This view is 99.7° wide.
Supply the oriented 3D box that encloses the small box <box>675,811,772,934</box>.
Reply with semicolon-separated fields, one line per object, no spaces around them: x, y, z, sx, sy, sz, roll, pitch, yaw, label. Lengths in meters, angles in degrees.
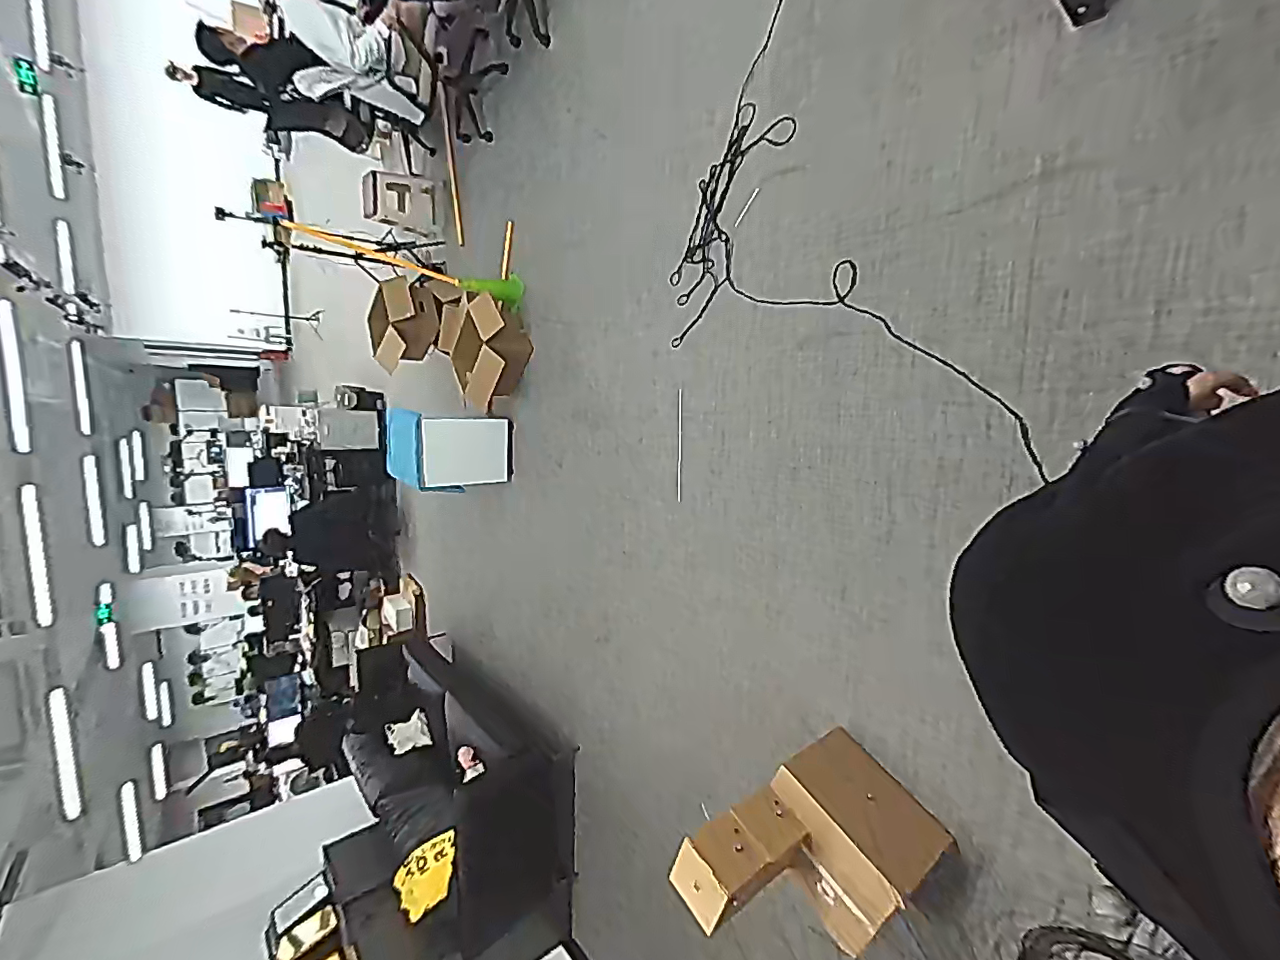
0.224;1.034;1.437;0.168;0.176;0.179;36;121;43;small box
